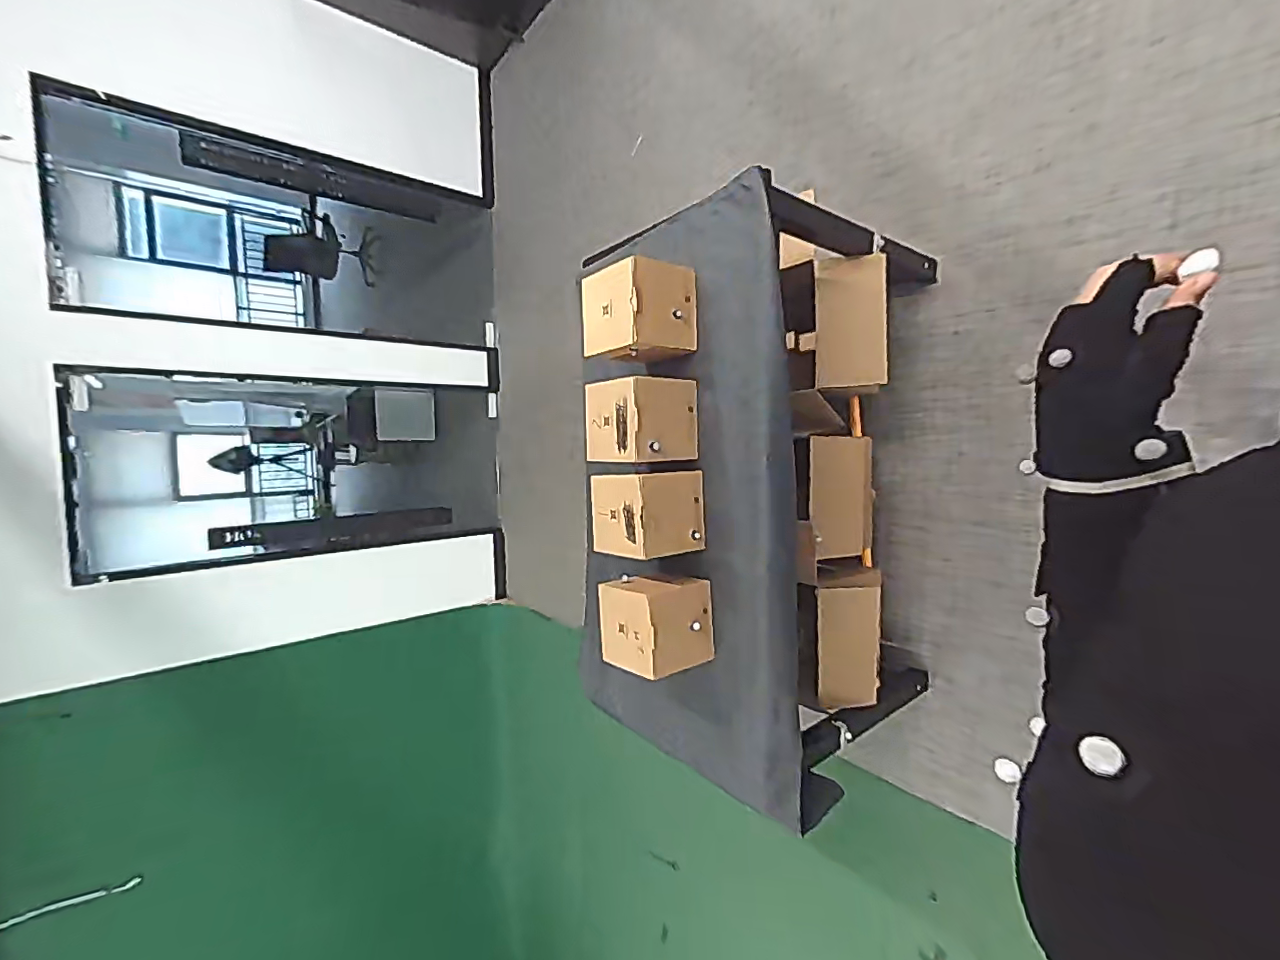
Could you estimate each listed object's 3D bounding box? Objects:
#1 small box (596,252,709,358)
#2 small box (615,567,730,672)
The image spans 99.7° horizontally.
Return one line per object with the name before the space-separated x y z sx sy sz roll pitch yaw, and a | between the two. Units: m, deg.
small box | 0.025 -0.356 1.135 0.179 0.176 0.168 1 95 52
small box | 0.068 0.284 1.145 0.179 0.176 0.168 -4 92 53
